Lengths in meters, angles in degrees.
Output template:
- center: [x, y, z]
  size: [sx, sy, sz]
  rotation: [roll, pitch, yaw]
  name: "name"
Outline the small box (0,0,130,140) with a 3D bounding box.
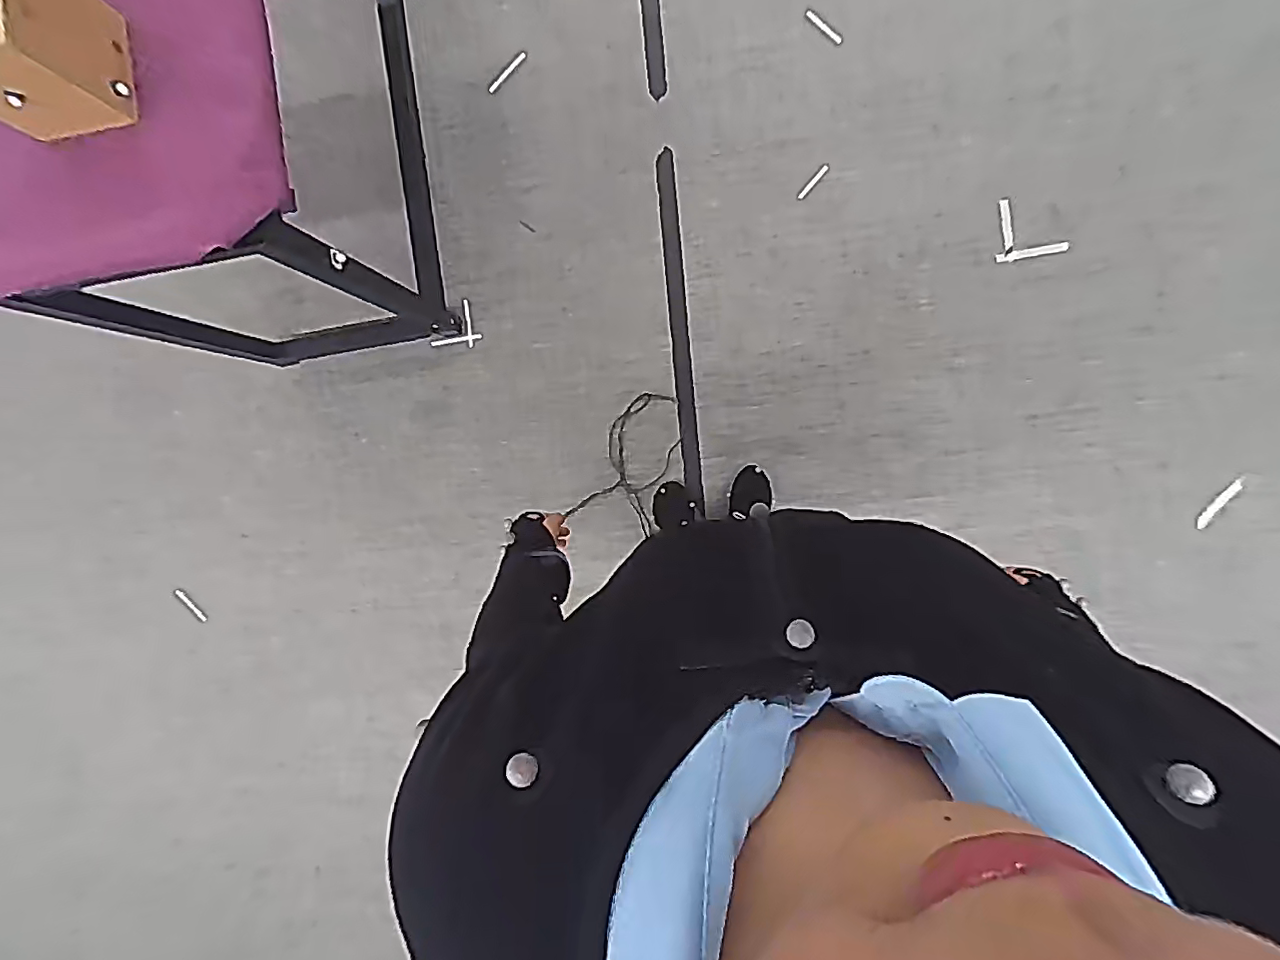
- center: [-0.887, -0.627, 0.776]
  size: [0.179, 0.176, 0.168]
  rotation: [-7, 91, 7]
  name: "small box"
